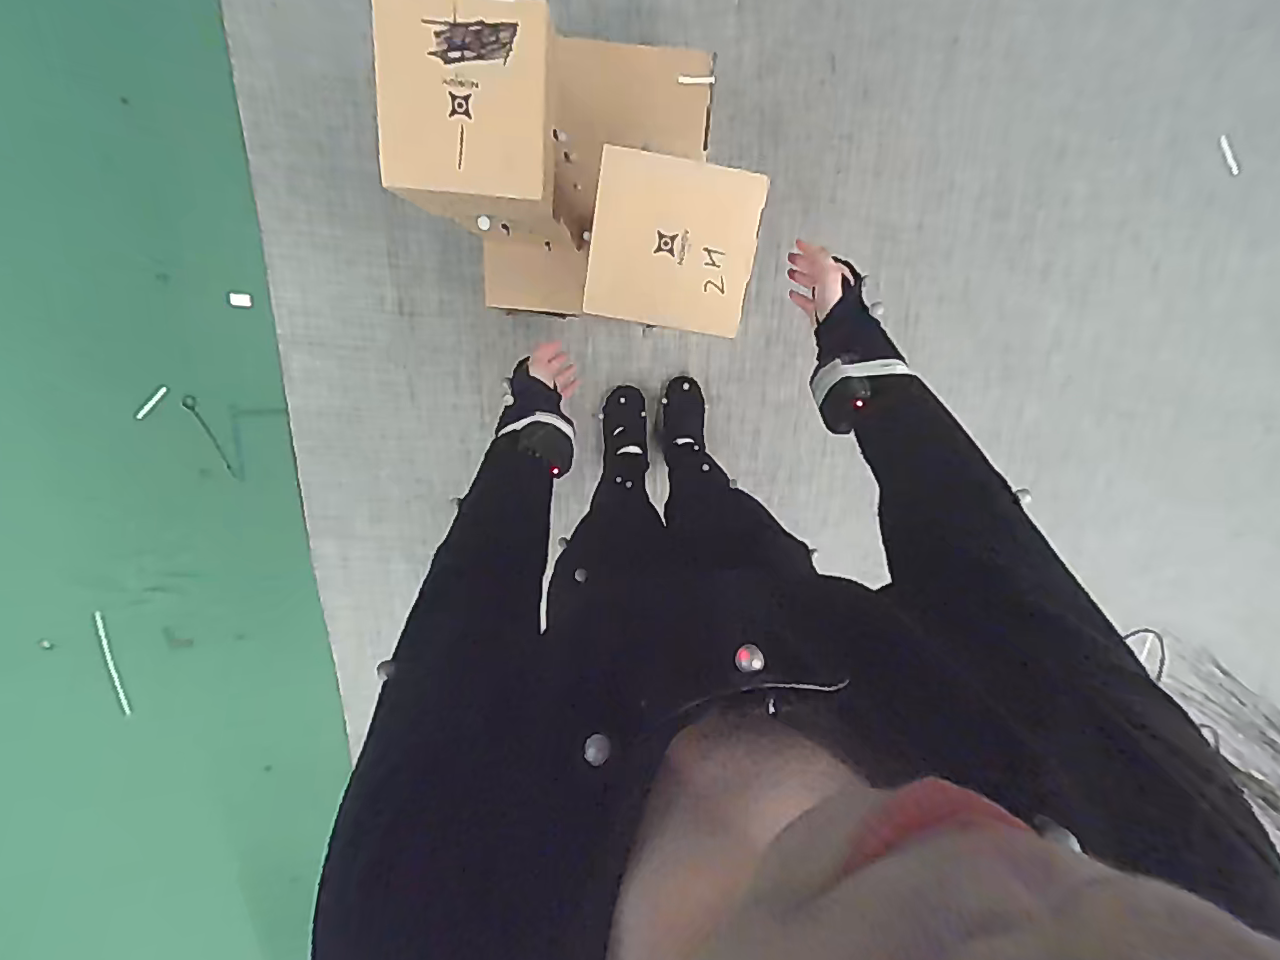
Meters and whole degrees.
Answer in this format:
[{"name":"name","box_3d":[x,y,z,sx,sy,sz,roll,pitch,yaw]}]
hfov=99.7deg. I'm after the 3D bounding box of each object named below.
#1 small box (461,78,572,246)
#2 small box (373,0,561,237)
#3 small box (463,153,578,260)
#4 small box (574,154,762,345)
[{"name":"small box","box_3d":[-0.187,-0.444,0.766,0.168,0.176,0.179,4,106,-3]},{"name":"small box","box_3d":[-0.183,-0.390,0.612,0.168,0.176,0.179,4,105,-3]},{"name":"small box","box_3d":[-0.197,-0.483,0.925,0.168,0.176,0.179,4,104,-3]},{"name":"small box","box_3d":[0.024,-0.259,0.647,0.179,0.176,0.168,9,105,-5]}]
